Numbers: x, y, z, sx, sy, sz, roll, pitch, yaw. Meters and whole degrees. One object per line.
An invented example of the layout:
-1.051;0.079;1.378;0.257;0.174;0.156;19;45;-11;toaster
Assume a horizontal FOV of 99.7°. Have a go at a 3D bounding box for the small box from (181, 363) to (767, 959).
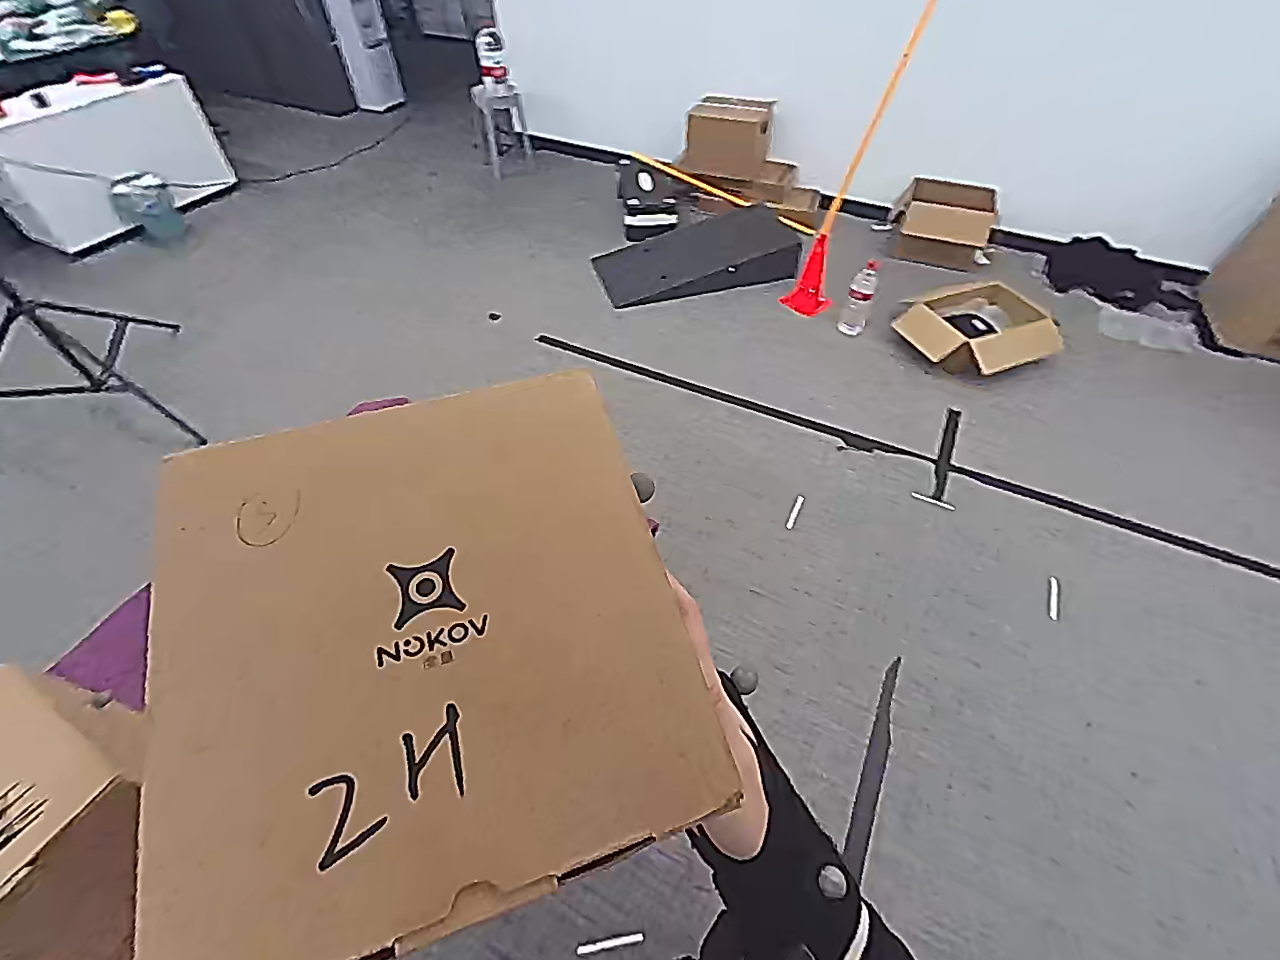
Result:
-0.068;0.076;0.258;0.168;0.176;0.179;-14;65;-12;small box
